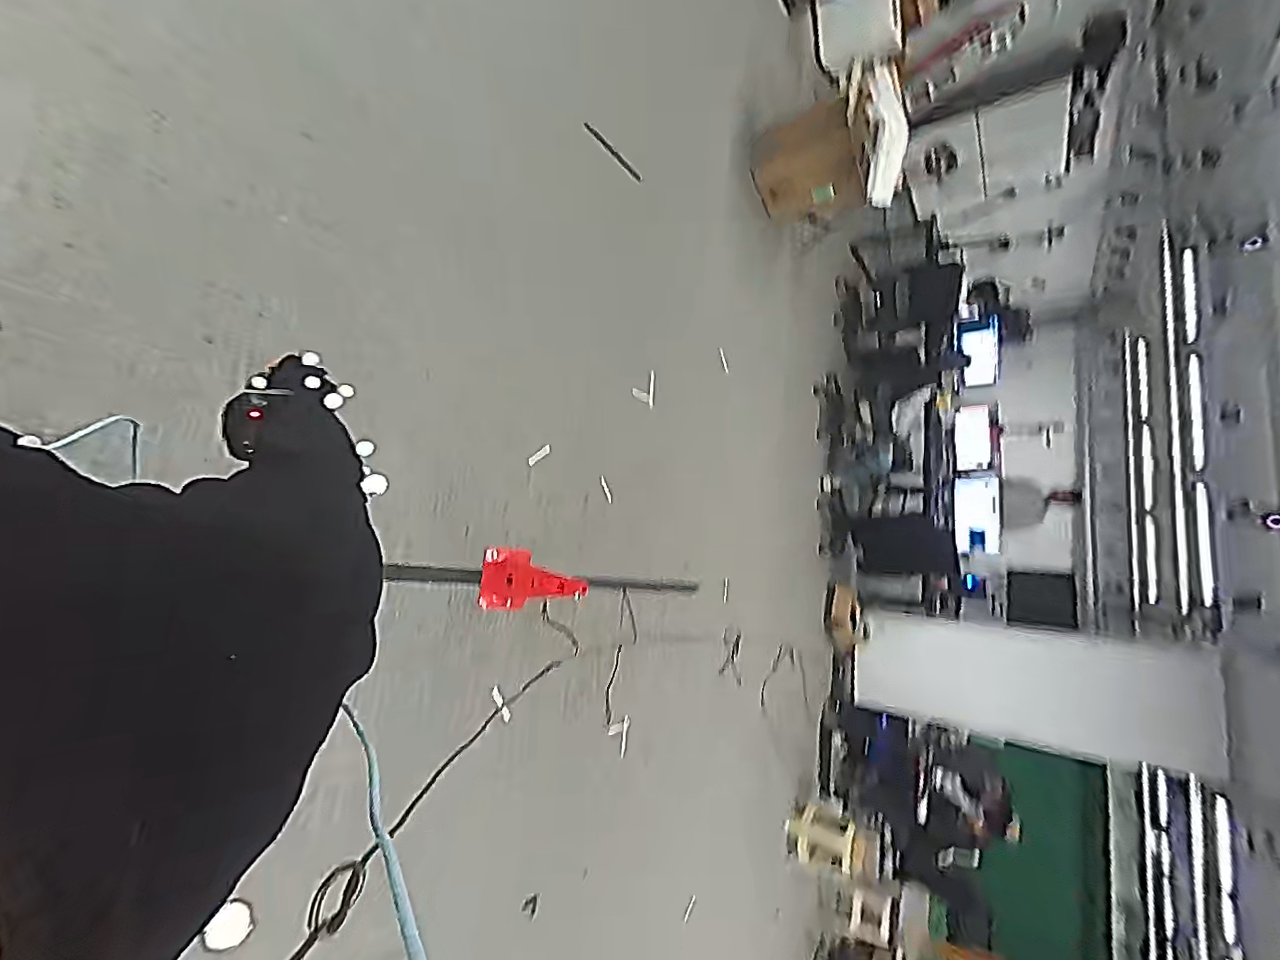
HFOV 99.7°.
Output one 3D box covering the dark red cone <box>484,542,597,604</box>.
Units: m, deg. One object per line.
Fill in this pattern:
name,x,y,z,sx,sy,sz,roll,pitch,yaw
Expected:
dark red cone,-0.299,0.312,1.705,0.202,0.394,0.201,16,78,-54
